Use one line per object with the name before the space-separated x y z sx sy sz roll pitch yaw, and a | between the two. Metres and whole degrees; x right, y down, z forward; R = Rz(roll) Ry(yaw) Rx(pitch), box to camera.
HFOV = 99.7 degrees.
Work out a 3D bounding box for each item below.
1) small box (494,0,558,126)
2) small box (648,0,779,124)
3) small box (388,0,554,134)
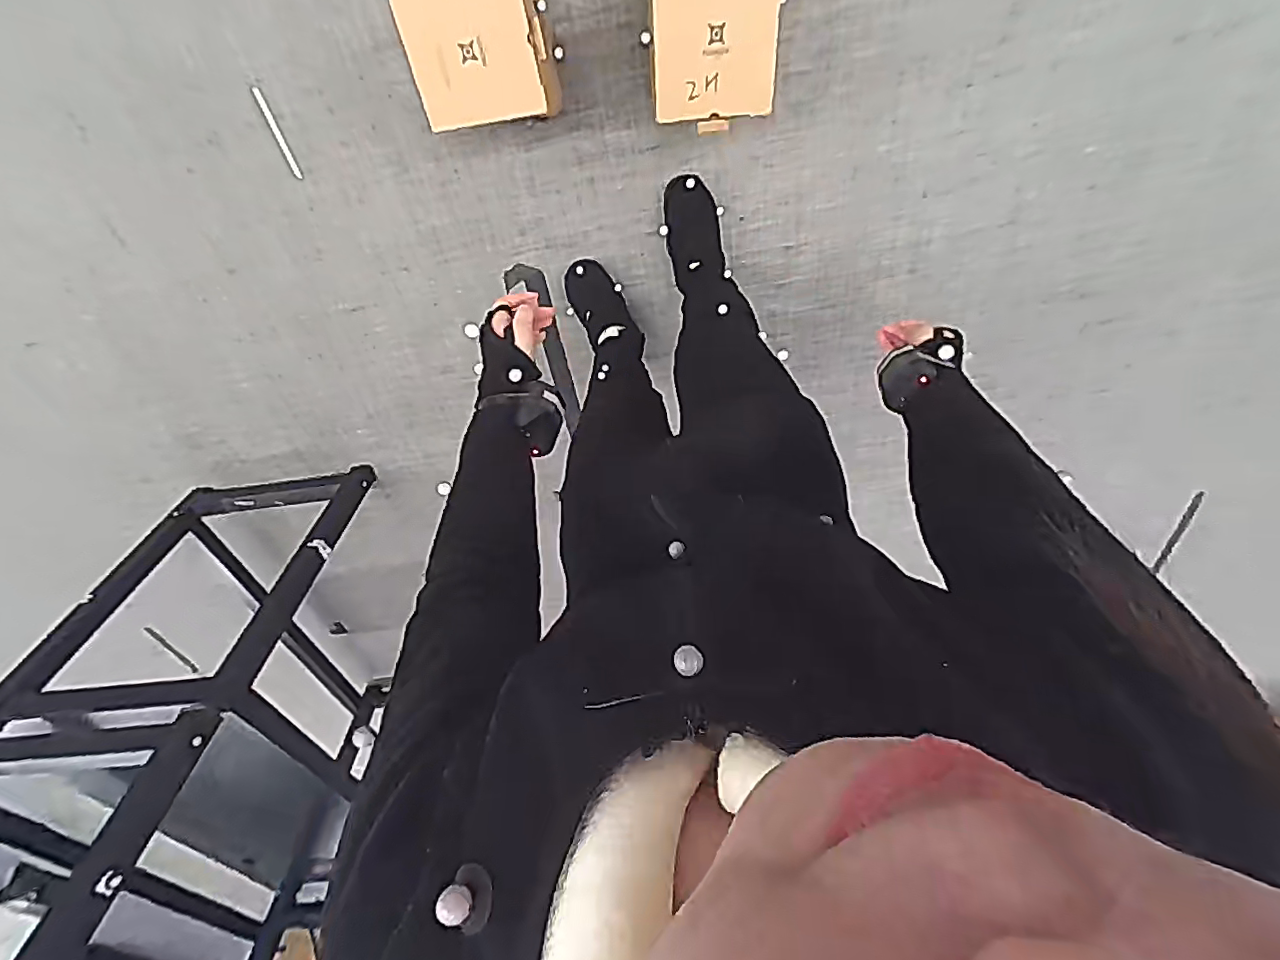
small box | -0.237 -0.711 0.919 0.179 0.176 0.168 -4 128 1
small box | 0.097 -0.629 0.780 0.168 0.176 0.179 -3 129 2
small box | -0.227 -0.619 0.783 0.179 0.176 0.168 -6 128 5
